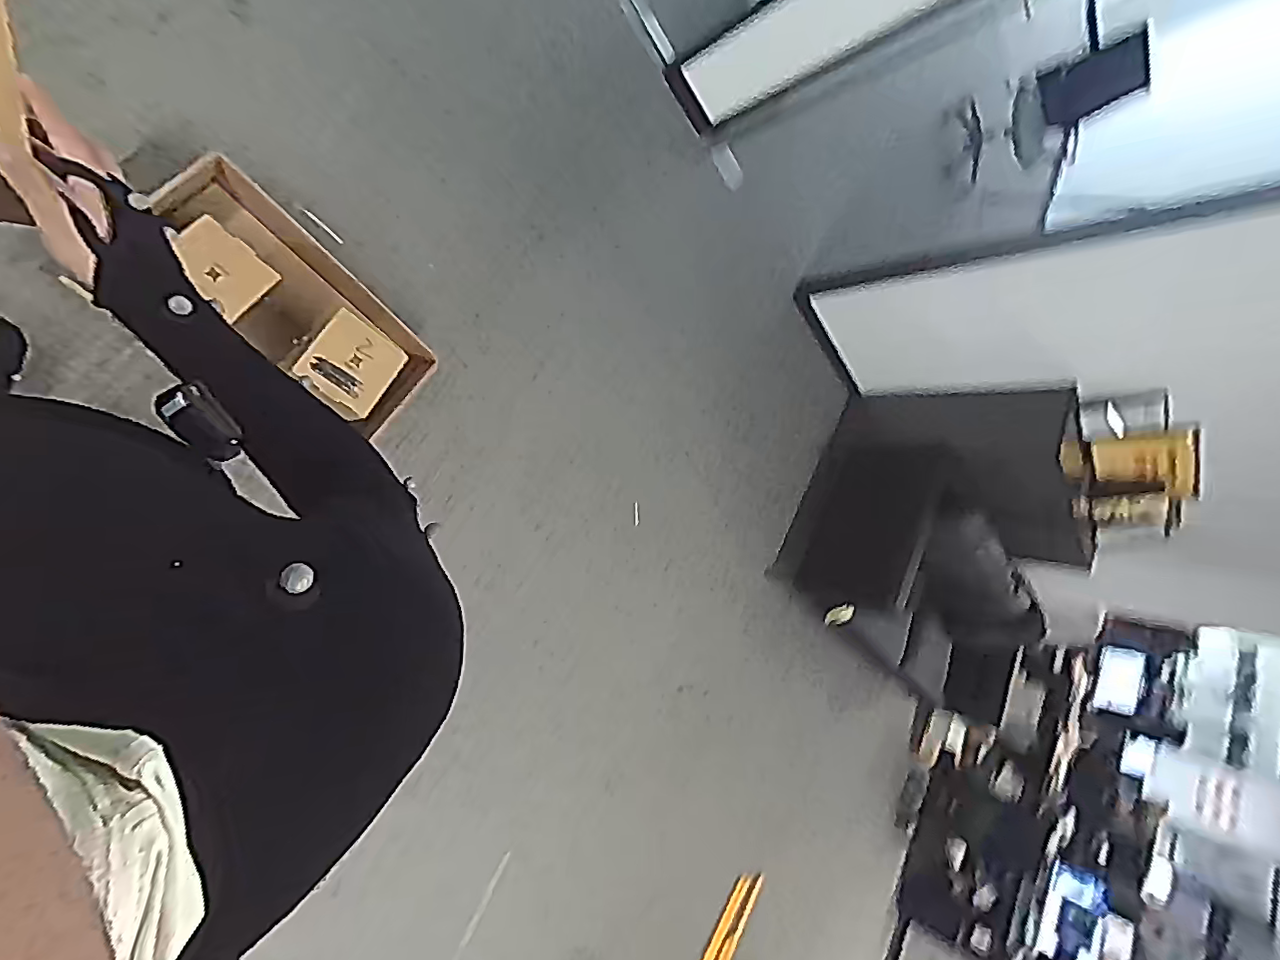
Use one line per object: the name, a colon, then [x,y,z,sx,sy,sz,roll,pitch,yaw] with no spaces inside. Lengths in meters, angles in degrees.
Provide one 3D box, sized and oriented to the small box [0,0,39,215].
small box: [-0.566,-0.317,0.384,0.168,0.176,0.179,-10,101,-44]
